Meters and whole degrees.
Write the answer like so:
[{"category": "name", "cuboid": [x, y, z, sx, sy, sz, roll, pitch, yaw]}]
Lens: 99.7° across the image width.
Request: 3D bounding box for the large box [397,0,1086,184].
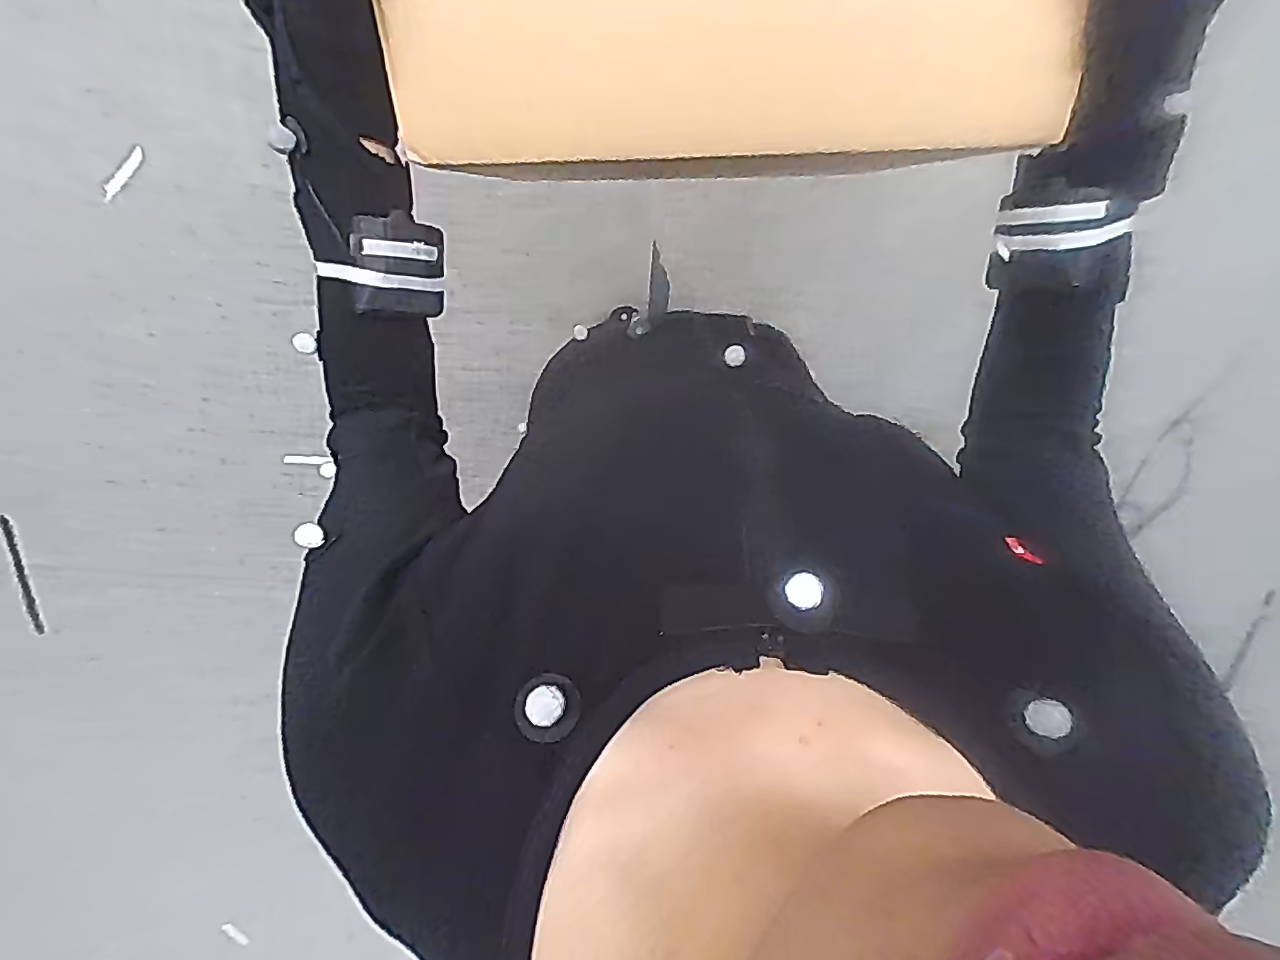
[{"category": "large box", "cuboid": [0.053, -0.415, 0.406, 0.408, 0.320, 0.320, -2, 118, 1]}]
